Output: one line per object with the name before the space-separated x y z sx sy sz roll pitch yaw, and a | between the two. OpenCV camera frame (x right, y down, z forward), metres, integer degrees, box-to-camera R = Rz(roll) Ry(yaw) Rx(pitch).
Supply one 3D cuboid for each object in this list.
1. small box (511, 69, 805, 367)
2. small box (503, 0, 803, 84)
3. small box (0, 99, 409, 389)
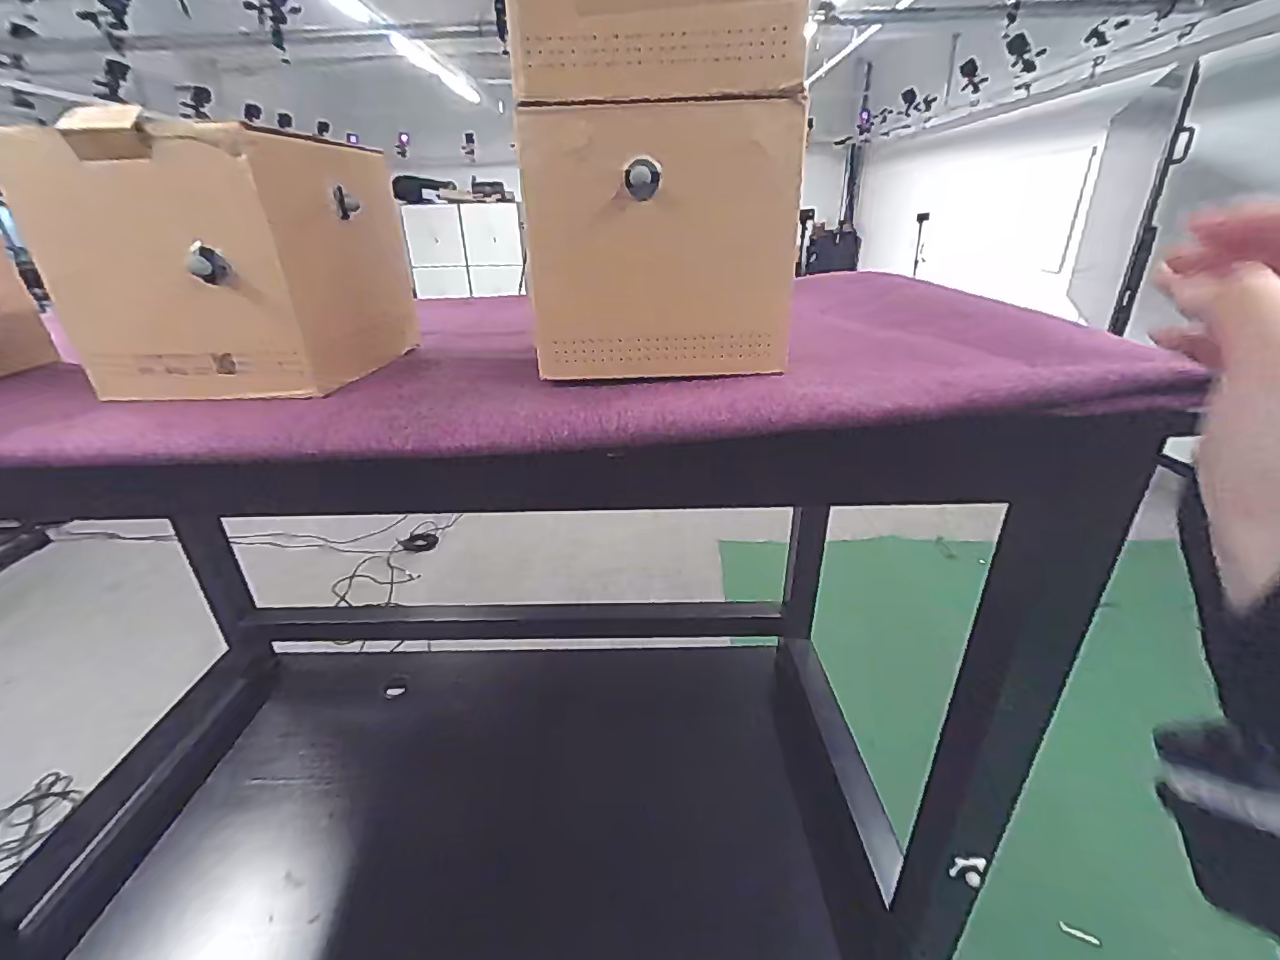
small box | 0.014 -0.184 0.415 0.179 0.176 0.168 -1 23 0
small box | 0.007 -0.335 0.354 0.179 0.176 0.168 -1 23 1
small box | -0.299 -0.171 0.412 0.168 0.176 0.179 1 25 2
